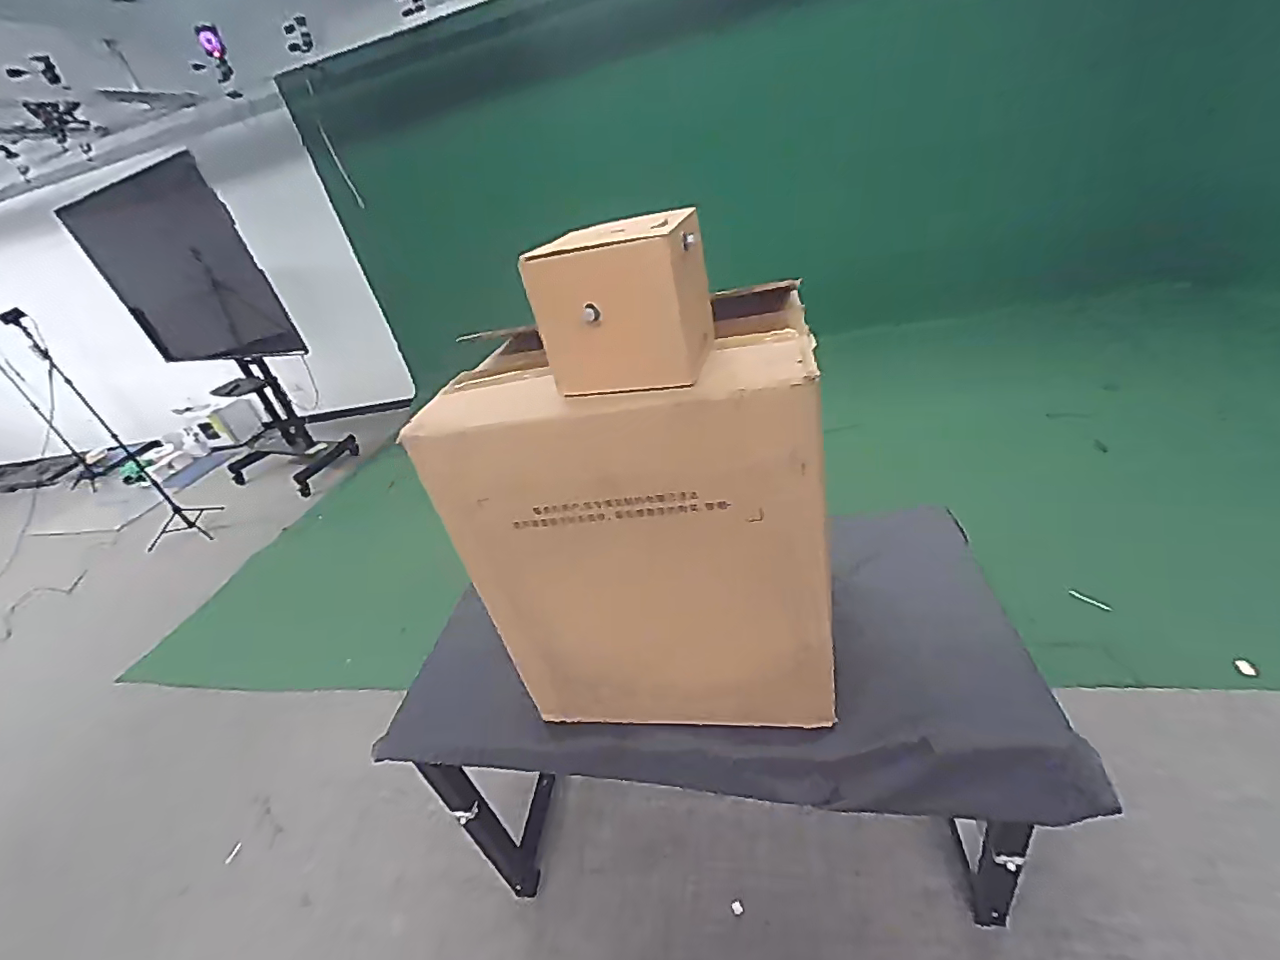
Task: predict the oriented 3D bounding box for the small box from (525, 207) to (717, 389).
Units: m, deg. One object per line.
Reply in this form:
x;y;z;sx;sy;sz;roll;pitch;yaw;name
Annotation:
-0.011;-0.223;0.678;0.179;0.176;0.168;-1;34;20;small box
